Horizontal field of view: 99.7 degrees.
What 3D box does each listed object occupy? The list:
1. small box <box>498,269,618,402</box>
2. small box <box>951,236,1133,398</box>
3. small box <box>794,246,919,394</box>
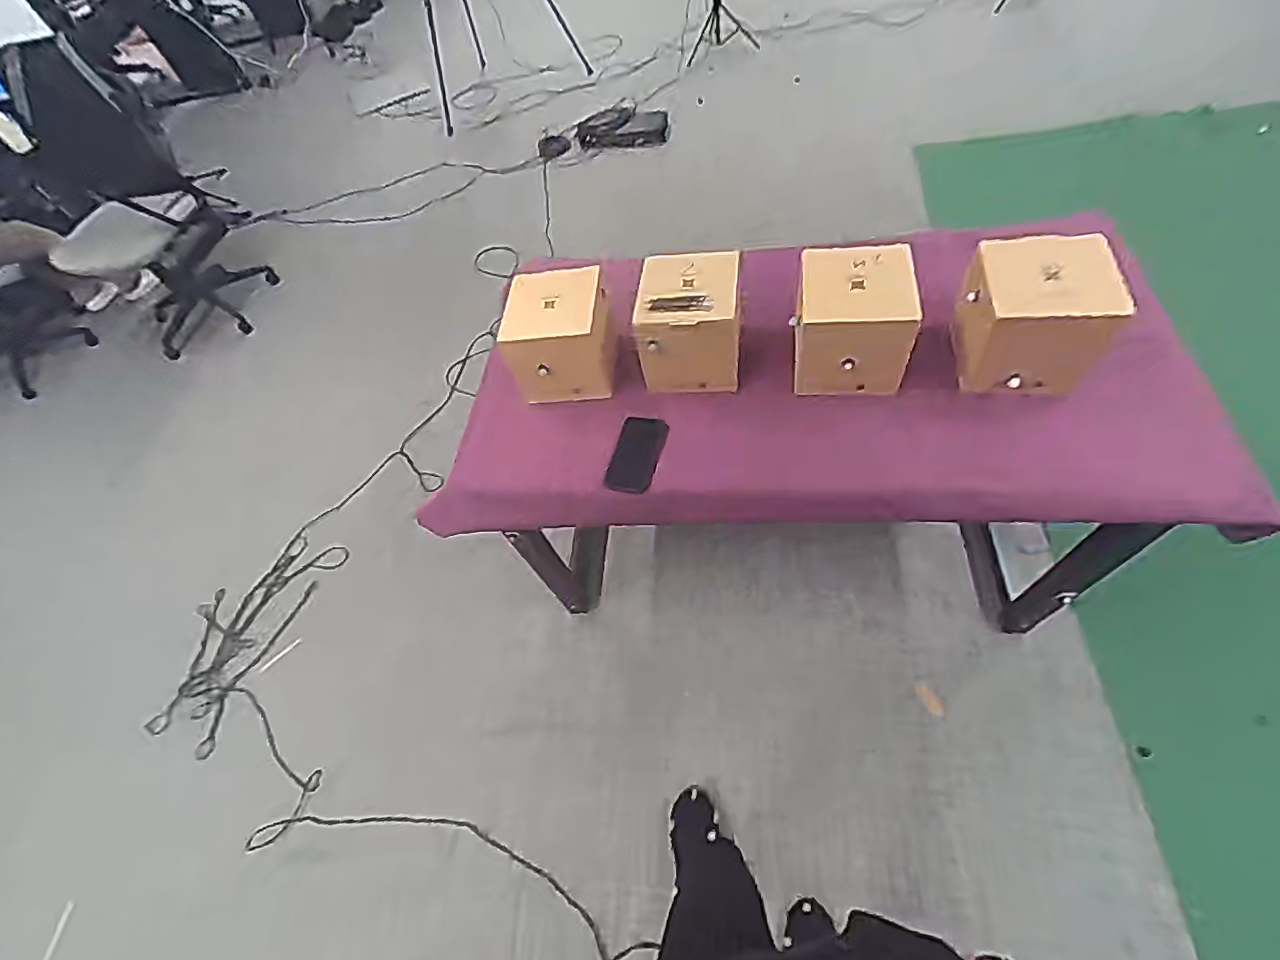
[{"bbox_3d":[-0.141,-0.258,1.003,0.168,0.176,0.179,-3,56,10],"label":"small box"},{"bbox_3d":[0.603,-0.250,0.842,0.168,0.176,0.179,3,58,15],"label":"small box"},{"bbox_3d":[0.349,-0.258,0.899,0.168,0.176,0.179,2,58,13],"label":"small box"}]
